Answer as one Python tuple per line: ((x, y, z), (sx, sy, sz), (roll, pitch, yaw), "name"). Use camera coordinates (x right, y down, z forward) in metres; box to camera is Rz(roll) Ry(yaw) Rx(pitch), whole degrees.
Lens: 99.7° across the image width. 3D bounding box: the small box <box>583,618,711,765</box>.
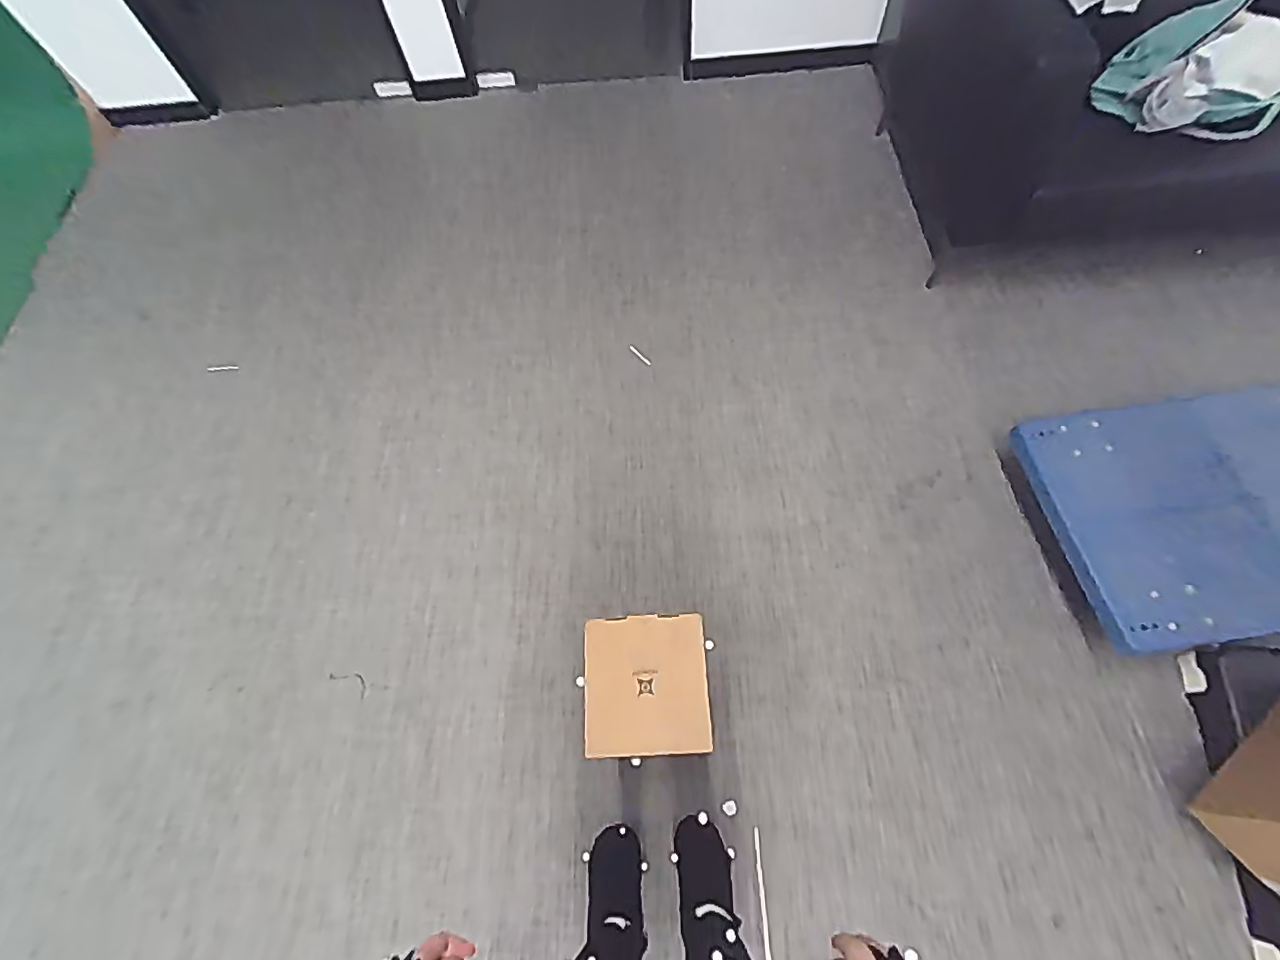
((0.012, 0.306, 0.782), (0.168, 0.176, 0.179), (-4, 65, 2), "small box")
